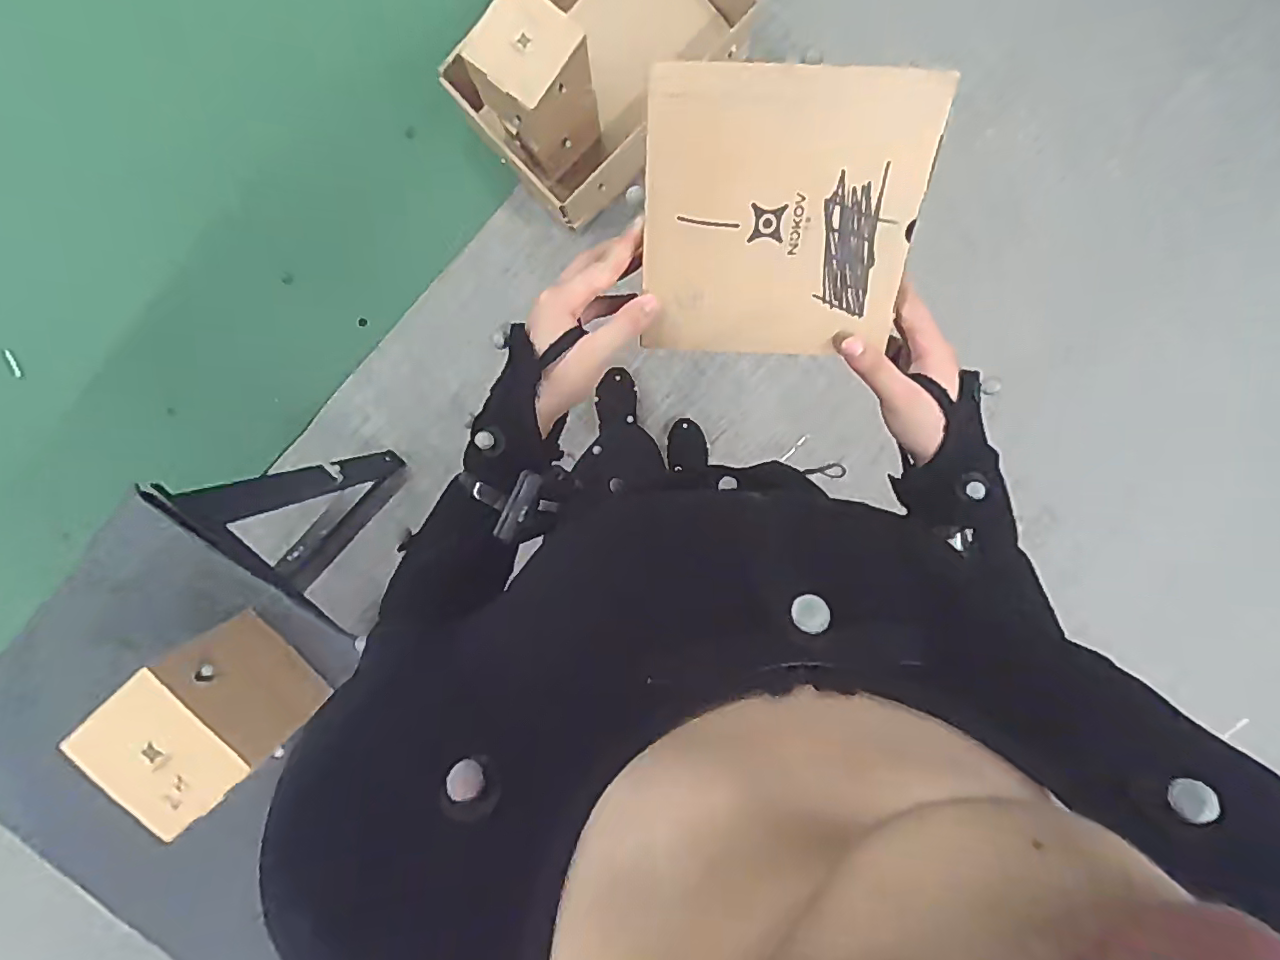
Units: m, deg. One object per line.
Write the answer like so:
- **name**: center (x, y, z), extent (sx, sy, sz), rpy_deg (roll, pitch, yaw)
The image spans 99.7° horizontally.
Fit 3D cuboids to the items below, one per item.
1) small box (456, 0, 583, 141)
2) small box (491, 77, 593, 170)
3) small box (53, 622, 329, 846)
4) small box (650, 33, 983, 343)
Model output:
- **small box**: center (-0.223, -0.817, 1.057), extent (0.168, 0.176, 0.179), rpy_deg (36, 95, -7)
- **small box**: center (-0.221, -0.846, 1.219), extent (0.179, 0.176, 0.168), rpy_deg (-43, 97, 6)
- **small box**: center (-0.562, 0.310, 0.704), extent (0.168, 0.176, 0.179), rpy_deg (-40, 98, 8)
- **small box**: center (0.099, -0.211, 0.403), extent (0.179, 0.176, 0.168), rpy_deg (3, 121, 0)
